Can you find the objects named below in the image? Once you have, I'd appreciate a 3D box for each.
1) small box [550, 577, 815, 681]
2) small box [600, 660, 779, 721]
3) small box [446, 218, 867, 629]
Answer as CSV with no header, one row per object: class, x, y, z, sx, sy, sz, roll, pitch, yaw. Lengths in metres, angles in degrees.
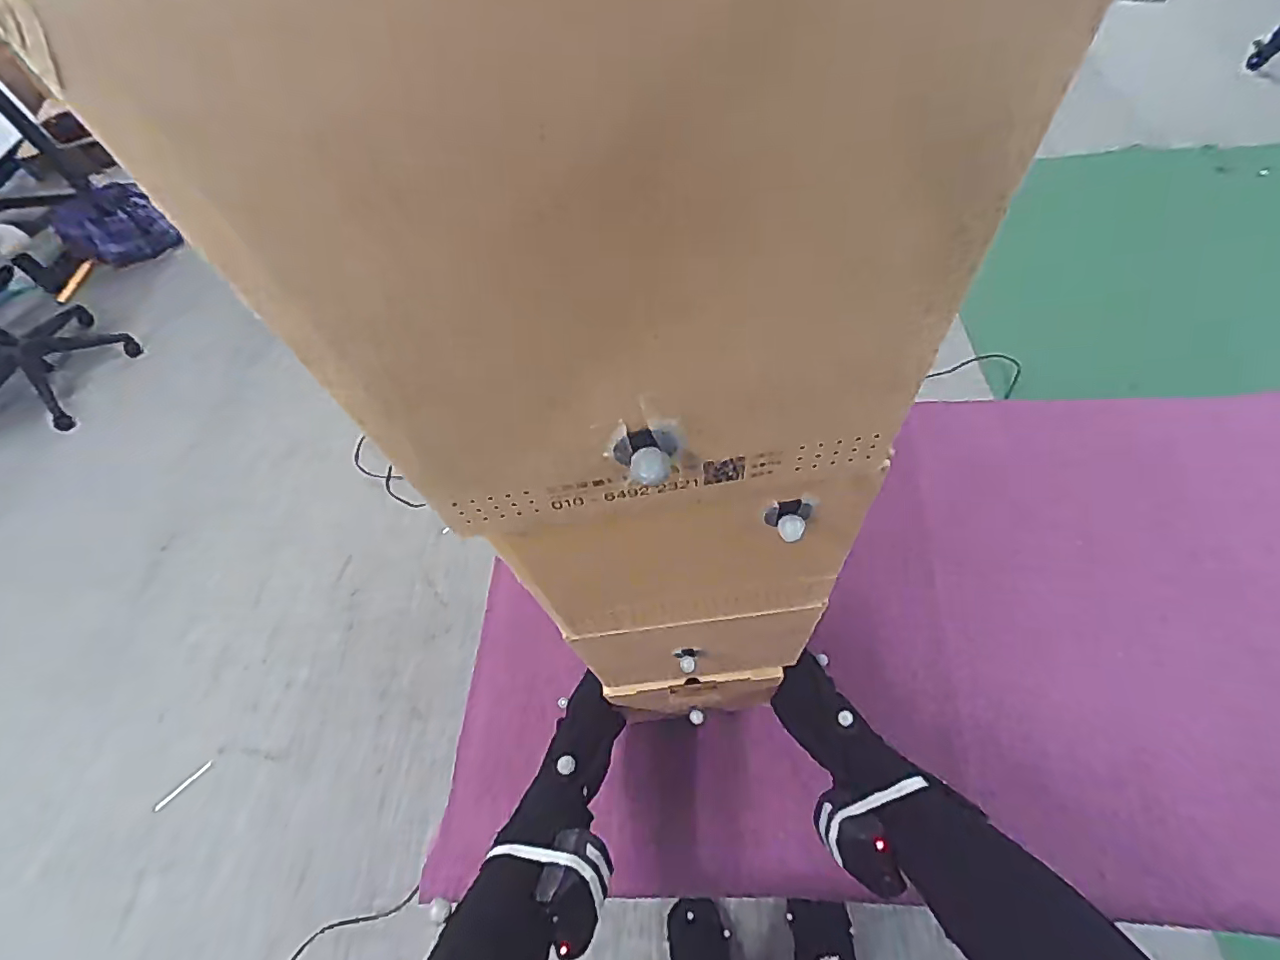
small box,0.032,0.064,0.459,0.179,0.176,0.168,-6,56,5
small box,0.048,0.155,0.599,0.168,0.176,0.179,-8,58,4
small box,0.009,-0.021,0.325,0.179,0.176,0.168,-9,57,3
